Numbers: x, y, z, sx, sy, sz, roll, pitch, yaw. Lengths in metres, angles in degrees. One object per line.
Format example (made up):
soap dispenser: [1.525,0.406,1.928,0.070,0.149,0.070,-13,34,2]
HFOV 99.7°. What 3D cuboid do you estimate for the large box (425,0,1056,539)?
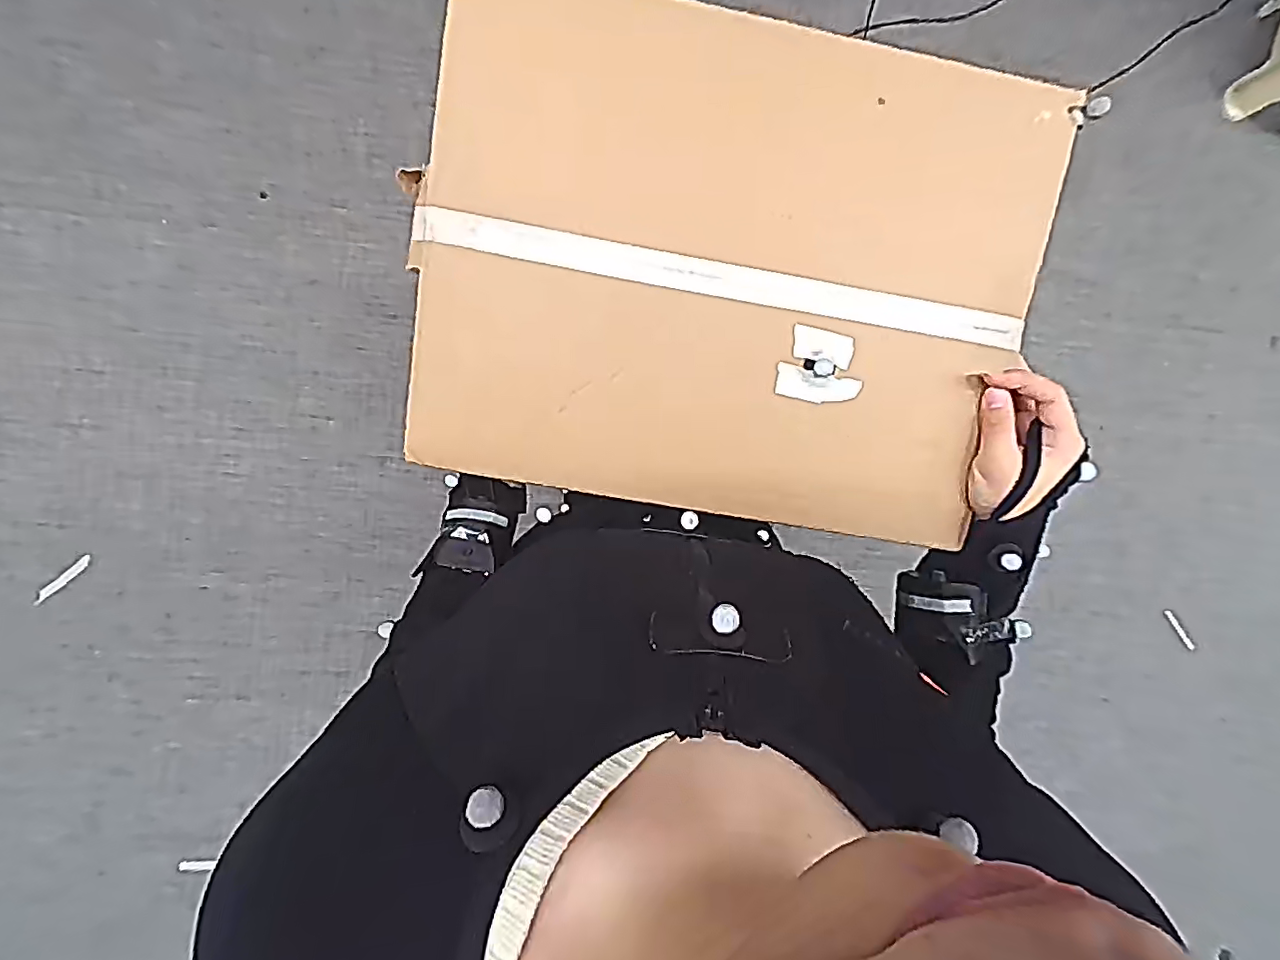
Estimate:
large box: [0.054,-0.152,0.516,0.408,0.320,0.320,8,100,-5]
